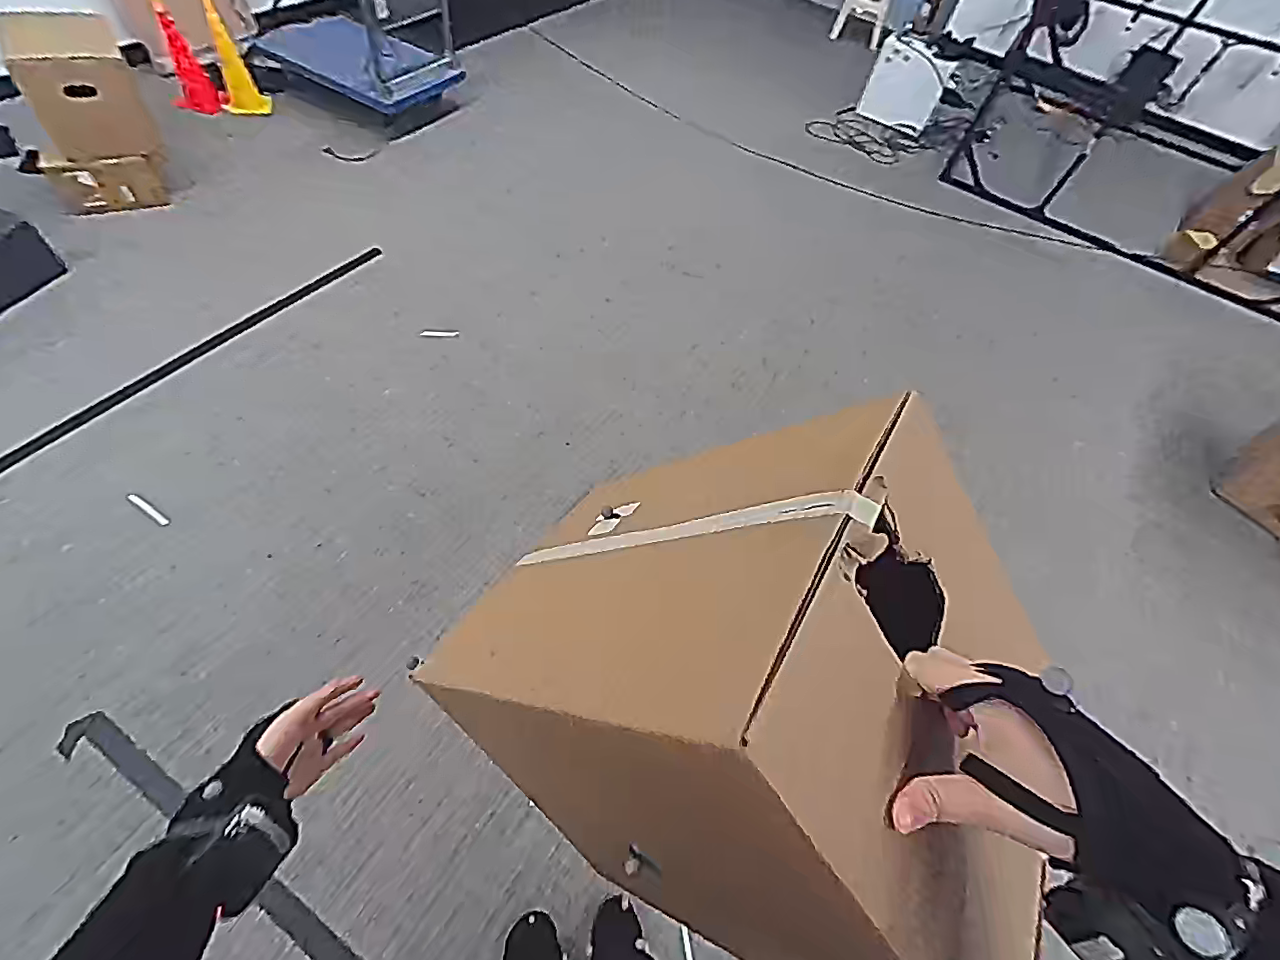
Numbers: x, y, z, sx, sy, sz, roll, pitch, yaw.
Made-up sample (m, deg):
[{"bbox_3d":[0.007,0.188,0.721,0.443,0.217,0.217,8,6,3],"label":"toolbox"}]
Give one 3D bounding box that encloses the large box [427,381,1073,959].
[{"bbox_3d":[0.092,0.175,0.483,0.320,0.408,0.320,54,51,-14],"label":"large box"}]
